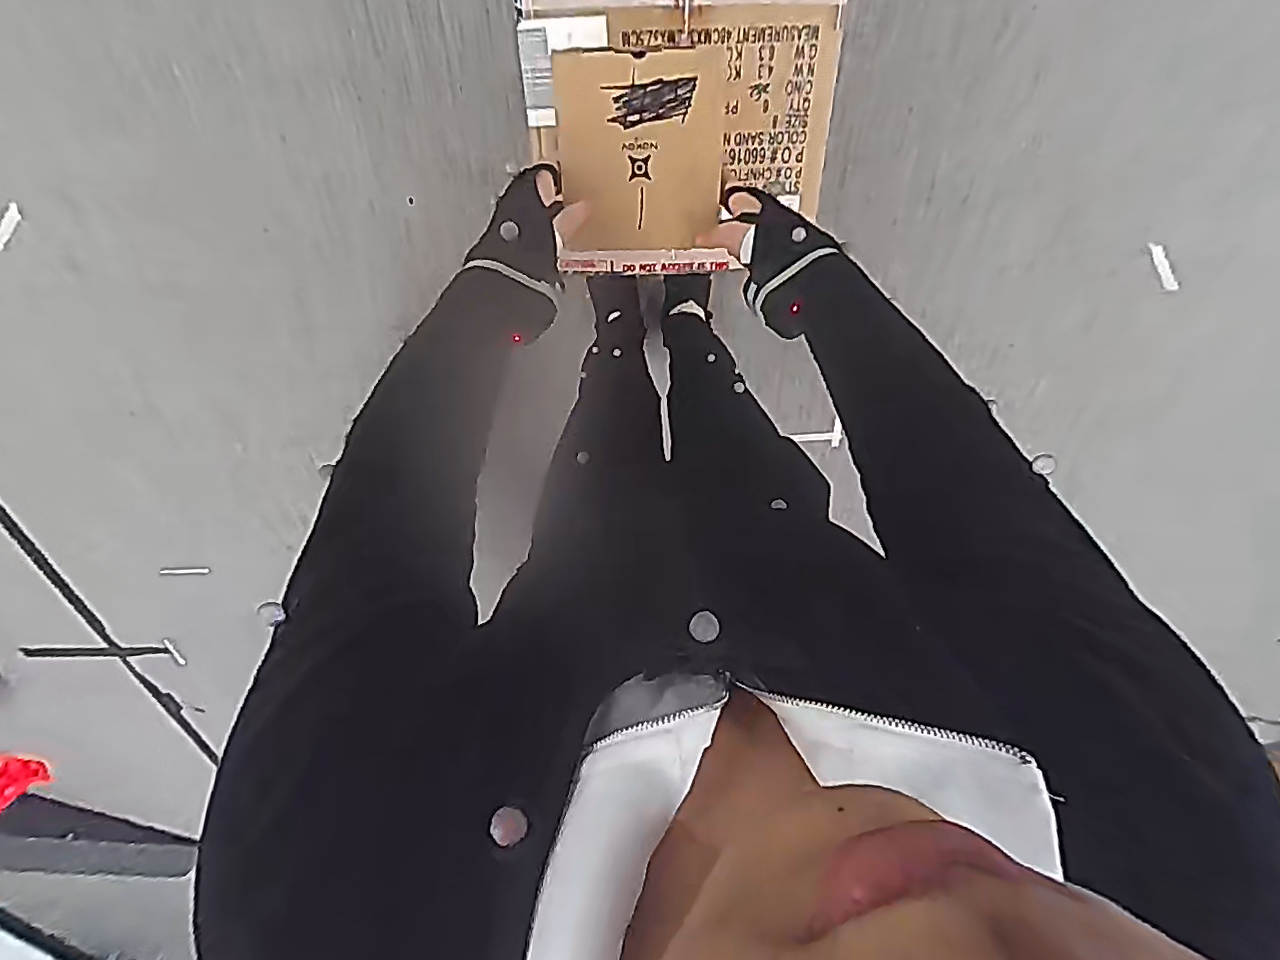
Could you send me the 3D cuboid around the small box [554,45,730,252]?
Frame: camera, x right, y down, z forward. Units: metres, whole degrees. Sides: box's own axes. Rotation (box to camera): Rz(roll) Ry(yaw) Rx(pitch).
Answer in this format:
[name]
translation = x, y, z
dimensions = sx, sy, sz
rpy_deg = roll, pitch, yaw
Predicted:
[small box]
translation = 0.001, -0.366, 0.605
dimensions = 0.168, 0.176, 0.179
rpy_deg = -2, 125, 0
